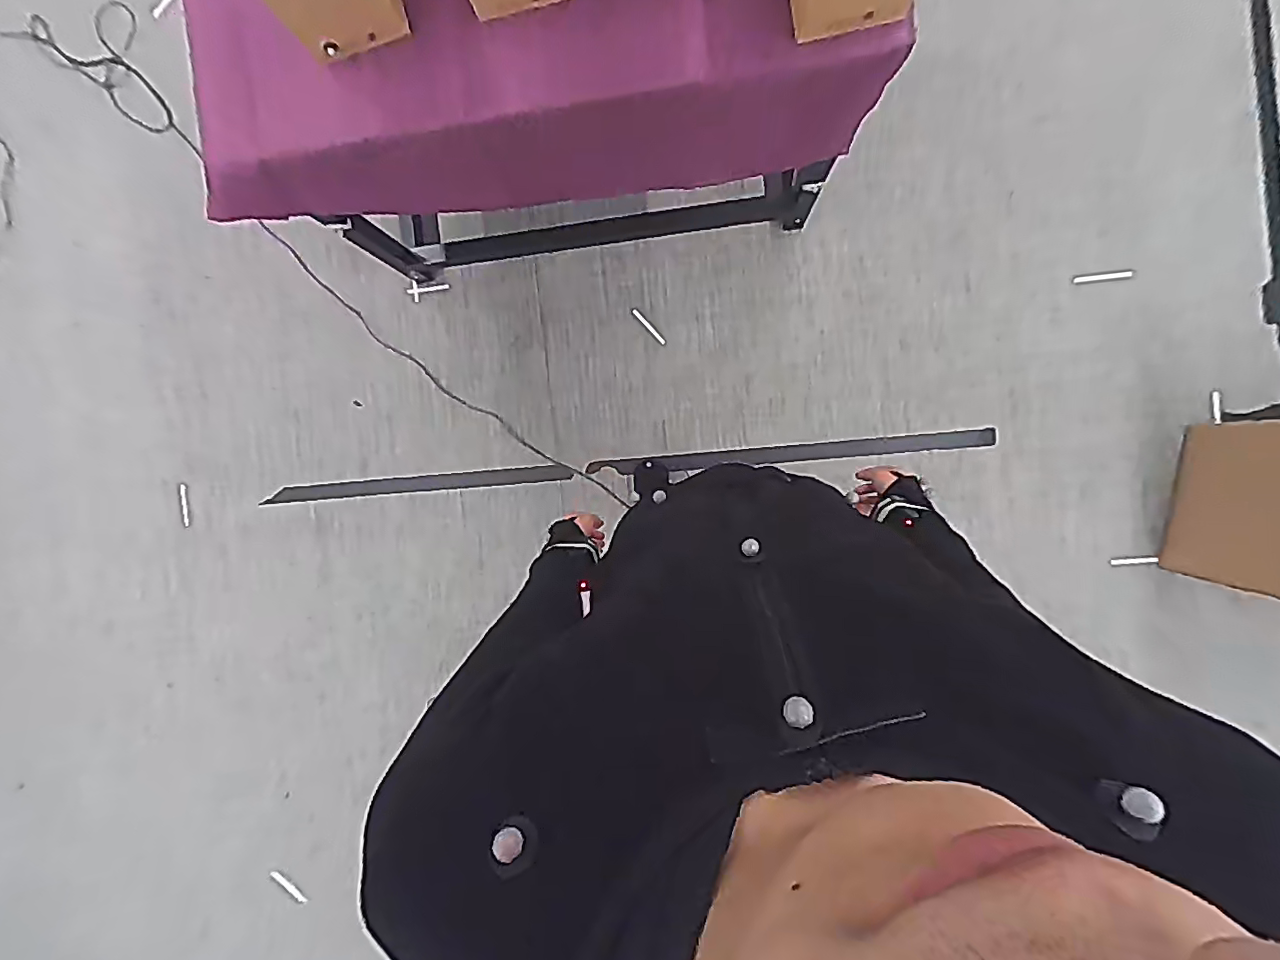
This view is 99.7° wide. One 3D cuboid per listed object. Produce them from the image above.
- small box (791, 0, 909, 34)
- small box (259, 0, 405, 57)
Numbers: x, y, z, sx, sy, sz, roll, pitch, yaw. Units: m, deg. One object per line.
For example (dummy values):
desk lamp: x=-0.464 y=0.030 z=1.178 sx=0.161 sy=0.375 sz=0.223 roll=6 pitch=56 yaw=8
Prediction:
small box: x=0.307 y=-0.778 z=0.760 sx=0.168 sy=0.176 sz=0.179 roll=-8 pitch=91 yaw=6
small box: x=-0.494 y=-0.804 z=0.834 sx=0.168 sy=0.176 sz=0.179 roll=-16 pitch=90 yaw=5
